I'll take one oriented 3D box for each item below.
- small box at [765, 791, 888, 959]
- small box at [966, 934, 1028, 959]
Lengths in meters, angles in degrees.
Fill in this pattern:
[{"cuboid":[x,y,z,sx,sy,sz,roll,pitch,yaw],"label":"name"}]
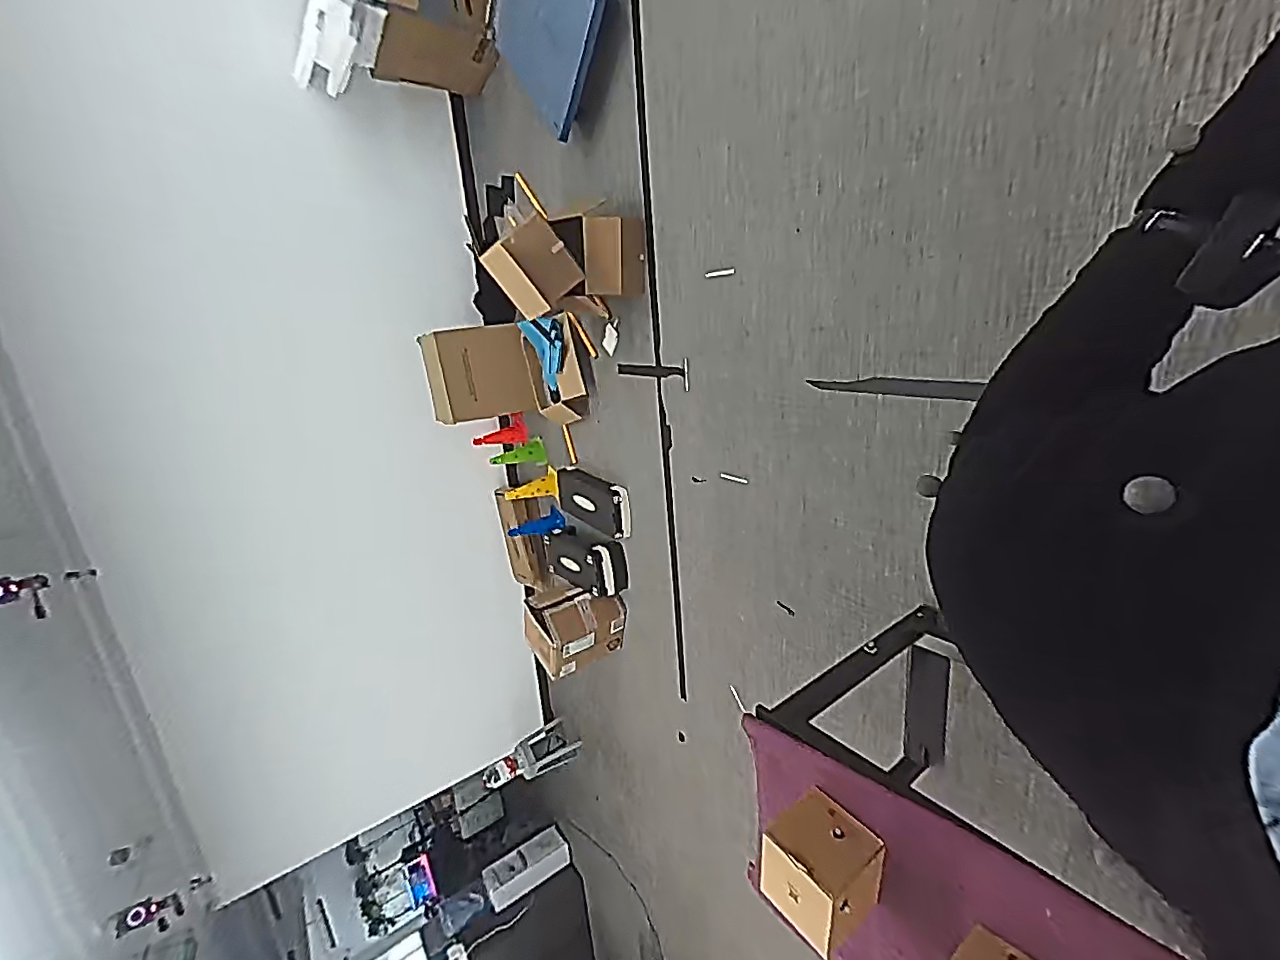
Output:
[{"cuboid":[0.370,0.778,1.079,0.168,0.176,0.179,23,123,50],"label":"small box"},{"cuboid":[0.571,0.852,0.808,0.168,0.176,0.179,3,106,57],"label":"small box"}]
